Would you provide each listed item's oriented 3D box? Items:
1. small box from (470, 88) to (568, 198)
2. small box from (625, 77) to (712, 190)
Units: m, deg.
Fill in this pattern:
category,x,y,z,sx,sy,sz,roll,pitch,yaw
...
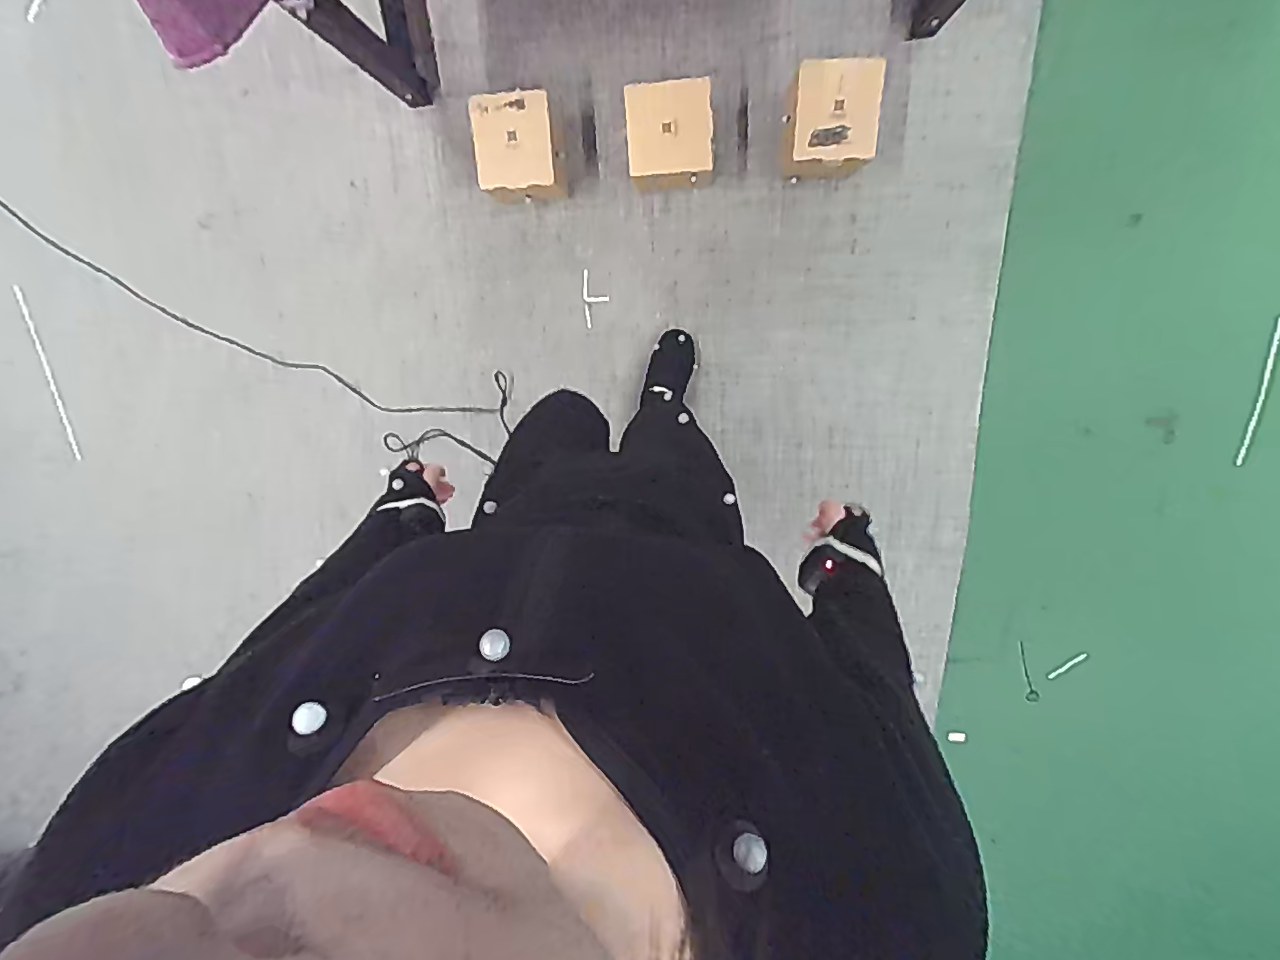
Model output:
category,x,y,z,sx,sy,sz,roll,pitch,yaw
small box,-0.260,-0.737,1.202,0.168,0.176,0.179,-2,108,3
small box,0.066,-0.744,1.178,0.179,0.176,0.168,-2,107,5
